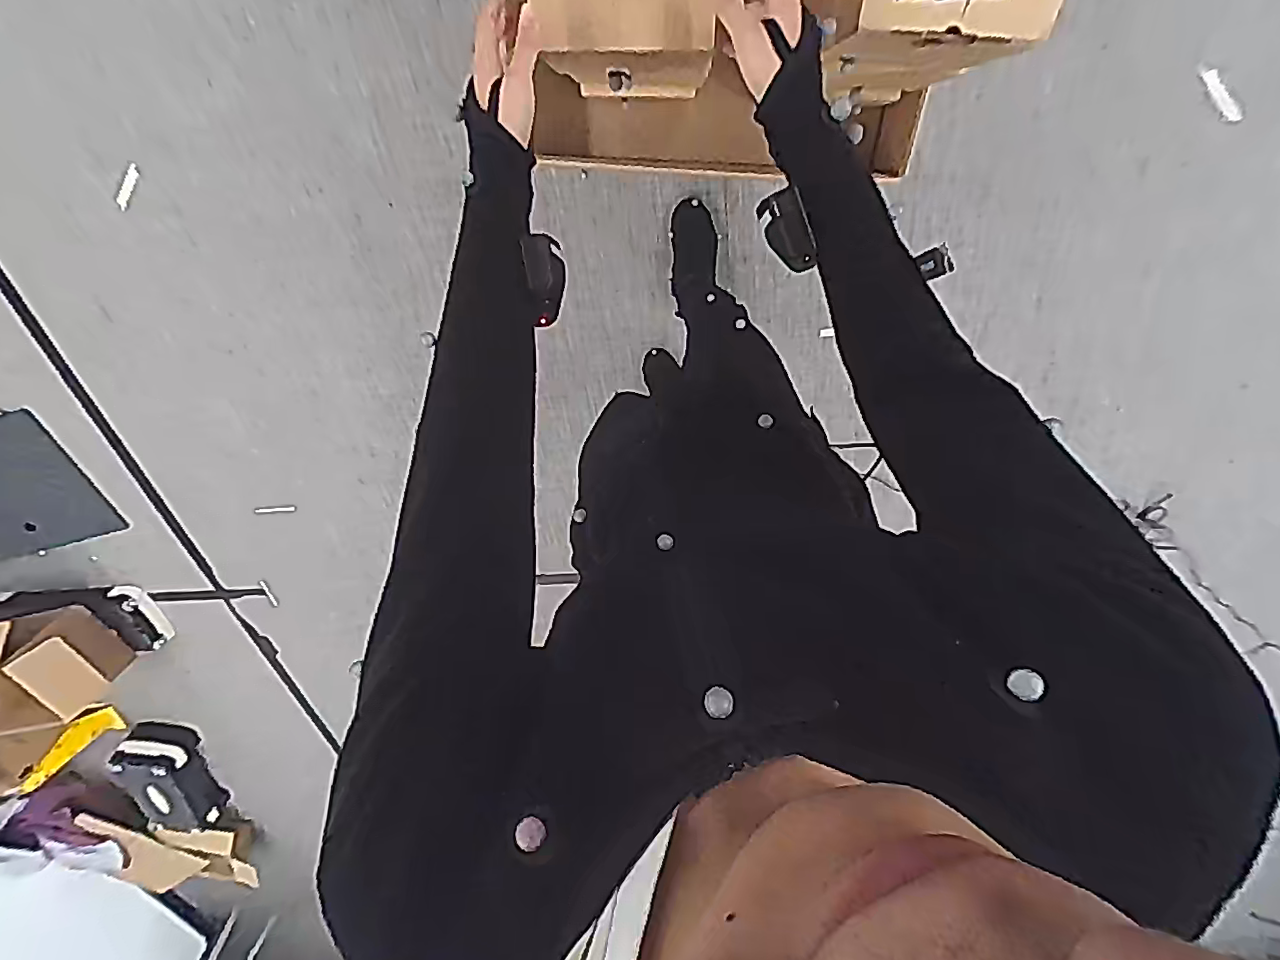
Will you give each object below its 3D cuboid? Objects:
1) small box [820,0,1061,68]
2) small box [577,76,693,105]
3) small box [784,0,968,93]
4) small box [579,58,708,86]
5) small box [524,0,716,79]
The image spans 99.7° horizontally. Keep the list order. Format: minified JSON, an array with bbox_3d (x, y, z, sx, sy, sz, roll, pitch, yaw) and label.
[{"bbox_3d":[0.273,-0.489,0.482,0.168,0.176,0.179,5,121,0],"label":"small box"},{"bbox_3d":[-0.001,-0.656,0.784,0.168,0.176,0.179,1,121,1],"label":"small box"},{"bbox_3d":[0.280,-0.562,0.631,0.179,0.176,0.168,2,121,2],"label":"small box"},{"bbox_3d":[-0.003,-0.578,0.639,0.179,0.176,0.168,3,121,0],"label":"small box"},{"bbox_3d":[-0.014,-0.493,0.499,0.168,0.176,0.179,2,120,2],"label":"small box"}]
